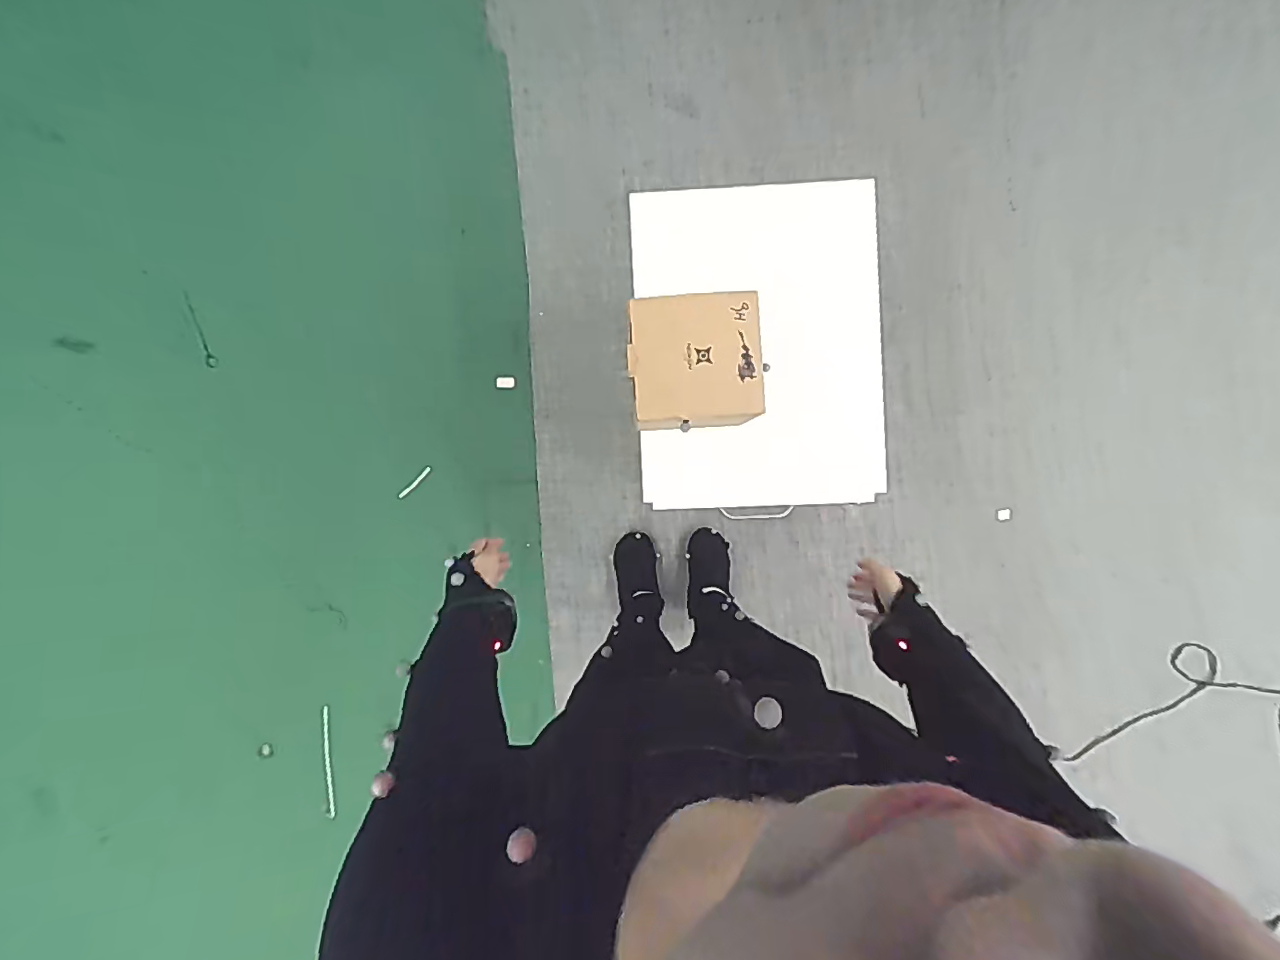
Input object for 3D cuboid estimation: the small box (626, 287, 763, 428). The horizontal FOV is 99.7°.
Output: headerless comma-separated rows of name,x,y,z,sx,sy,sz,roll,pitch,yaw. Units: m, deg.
small box,0.074,-0.169,0.796,0.179,0.176,0.168,-4,90,0
